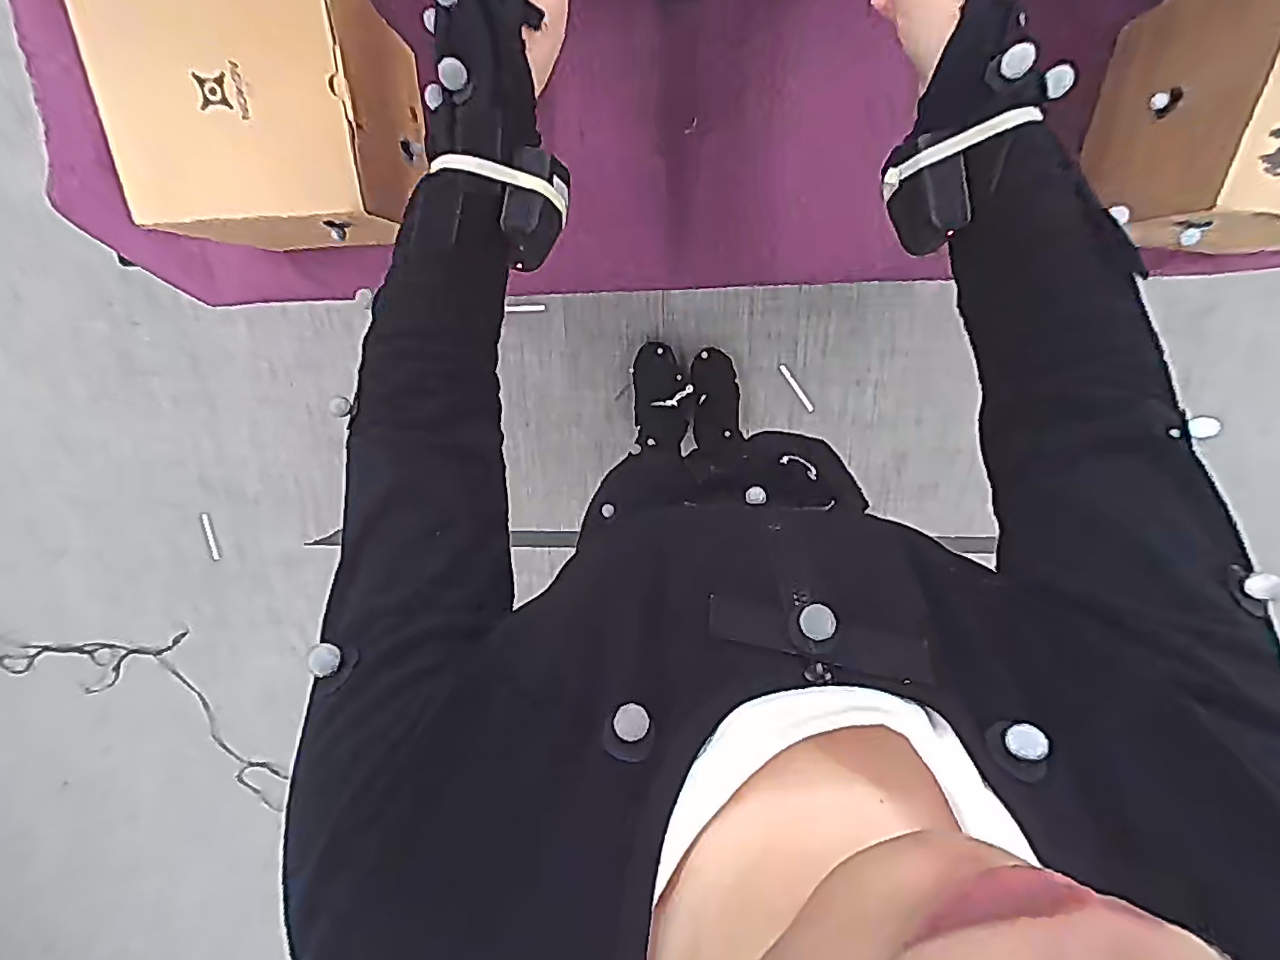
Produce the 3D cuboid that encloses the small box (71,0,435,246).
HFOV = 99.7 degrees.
[{"bbox_3d":[-0.301,-0.301,0.463,0.179,0.176,0.168,-4,108,0],"label":"small box"}]
